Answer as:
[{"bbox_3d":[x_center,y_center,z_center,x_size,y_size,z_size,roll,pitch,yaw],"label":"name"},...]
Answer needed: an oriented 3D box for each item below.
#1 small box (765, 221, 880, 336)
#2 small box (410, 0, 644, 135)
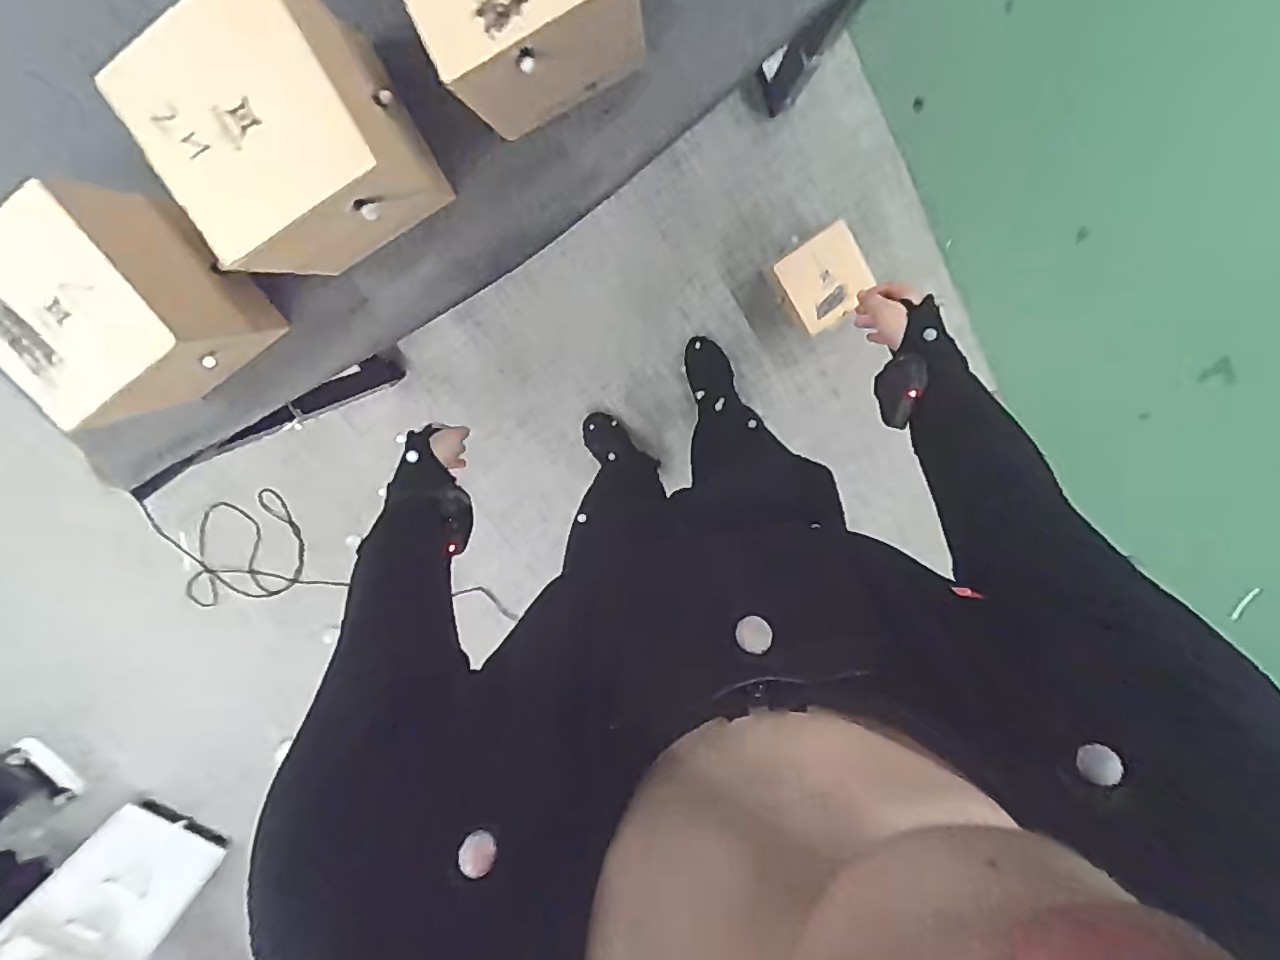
[{"bbox_3d":[0.400,-0.447,1.208,0.168,0.176,0.179,-31,105,14],"label":"small box"},{"bbox_3d":[-0.104,-0.440,0.460,0.168,0.176,0.179,-21,105,11],"label":"small box"}]
